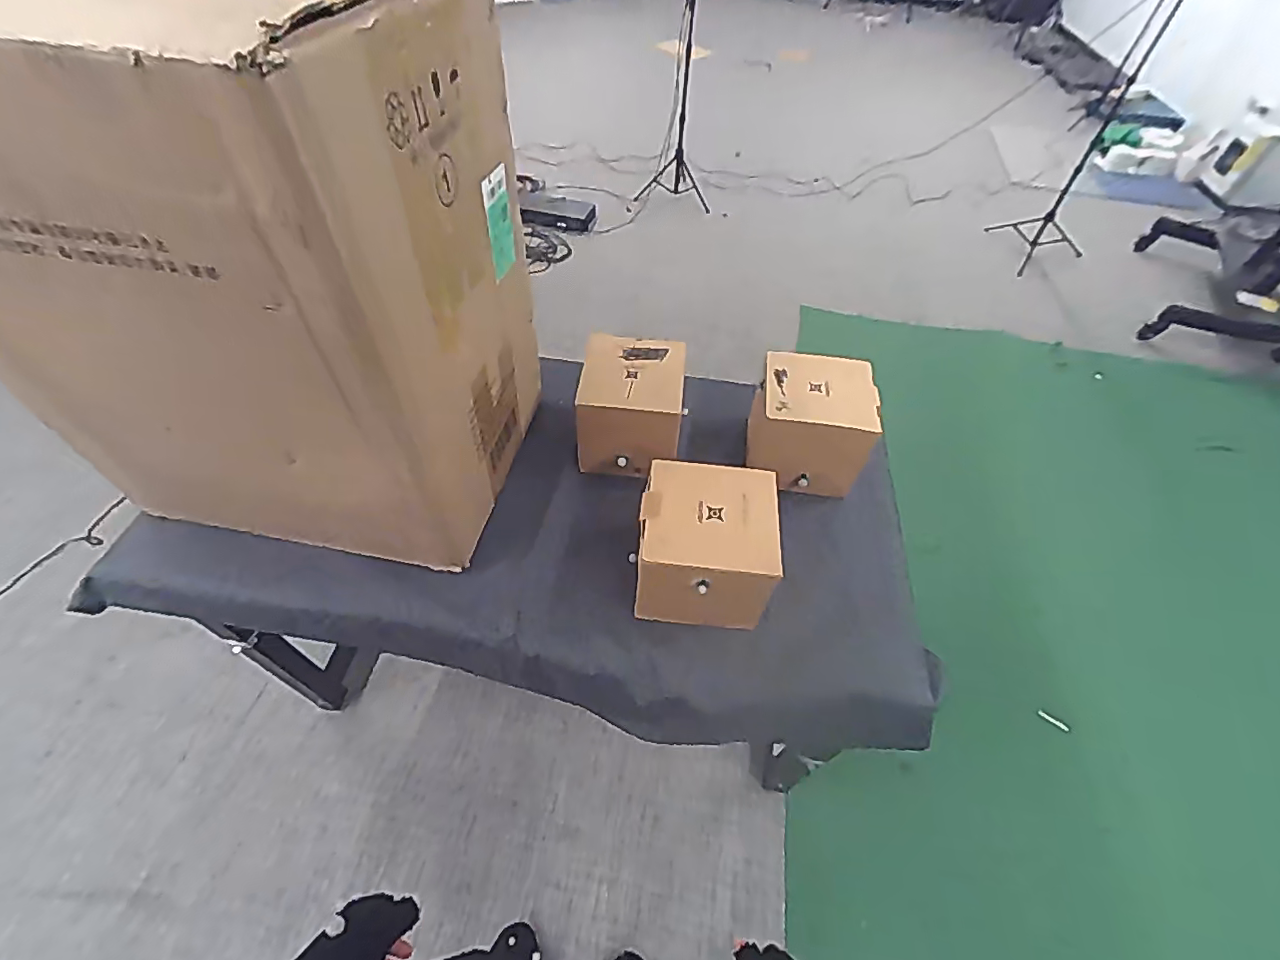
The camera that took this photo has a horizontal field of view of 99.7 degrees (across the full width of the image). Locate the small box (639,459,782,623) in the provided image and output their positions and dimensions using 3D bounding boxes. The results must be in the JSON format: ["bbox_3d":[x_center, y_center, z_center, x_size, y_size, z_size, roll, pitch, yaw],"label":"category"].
[{"bbox_3d":[0.094,0.091,0.775,0.179,0.176,0.168,6,52,1],"label":"small box"}]

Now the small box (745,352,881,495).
[{"bbox_3d":[0.287,-0.093,0.931,0.179,0.176,0.168,9,50,3],"label":"small box"}]
